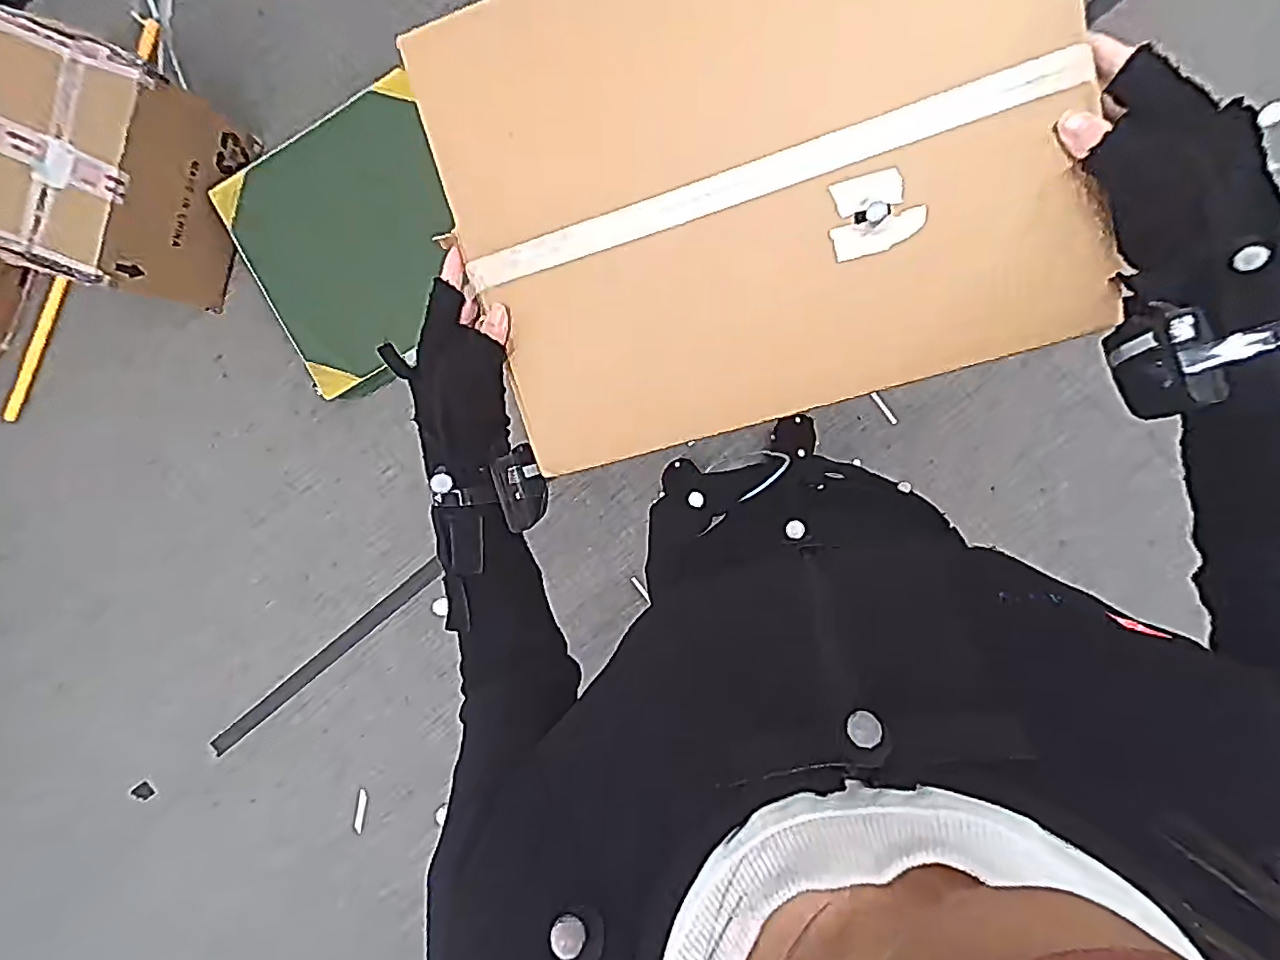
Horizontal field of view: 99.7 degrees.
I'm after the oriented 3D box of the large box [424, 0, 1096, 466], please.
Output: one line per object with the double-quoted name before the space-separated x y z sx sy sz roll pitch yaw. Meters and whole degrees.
"large box" 0.091 -0.235 0.515 0.408 0.320 0.320 -15 101 9
